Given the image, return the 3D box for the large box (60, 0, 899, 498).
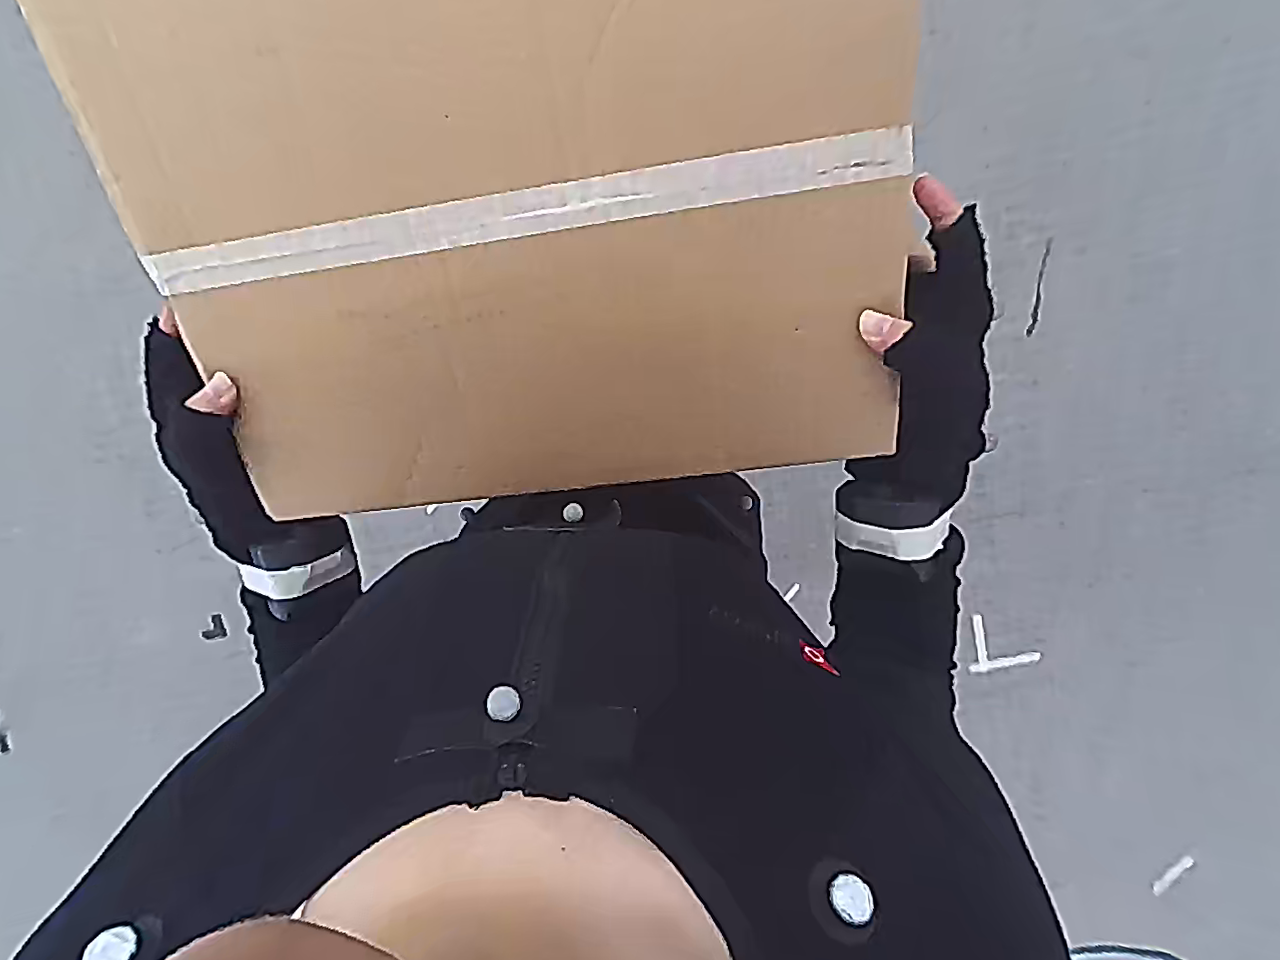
[{"bbox_3d":[-0.064,-0.209,0.426,0.408,0.320,0.320,-6,115,6],"label":"large box"}]
